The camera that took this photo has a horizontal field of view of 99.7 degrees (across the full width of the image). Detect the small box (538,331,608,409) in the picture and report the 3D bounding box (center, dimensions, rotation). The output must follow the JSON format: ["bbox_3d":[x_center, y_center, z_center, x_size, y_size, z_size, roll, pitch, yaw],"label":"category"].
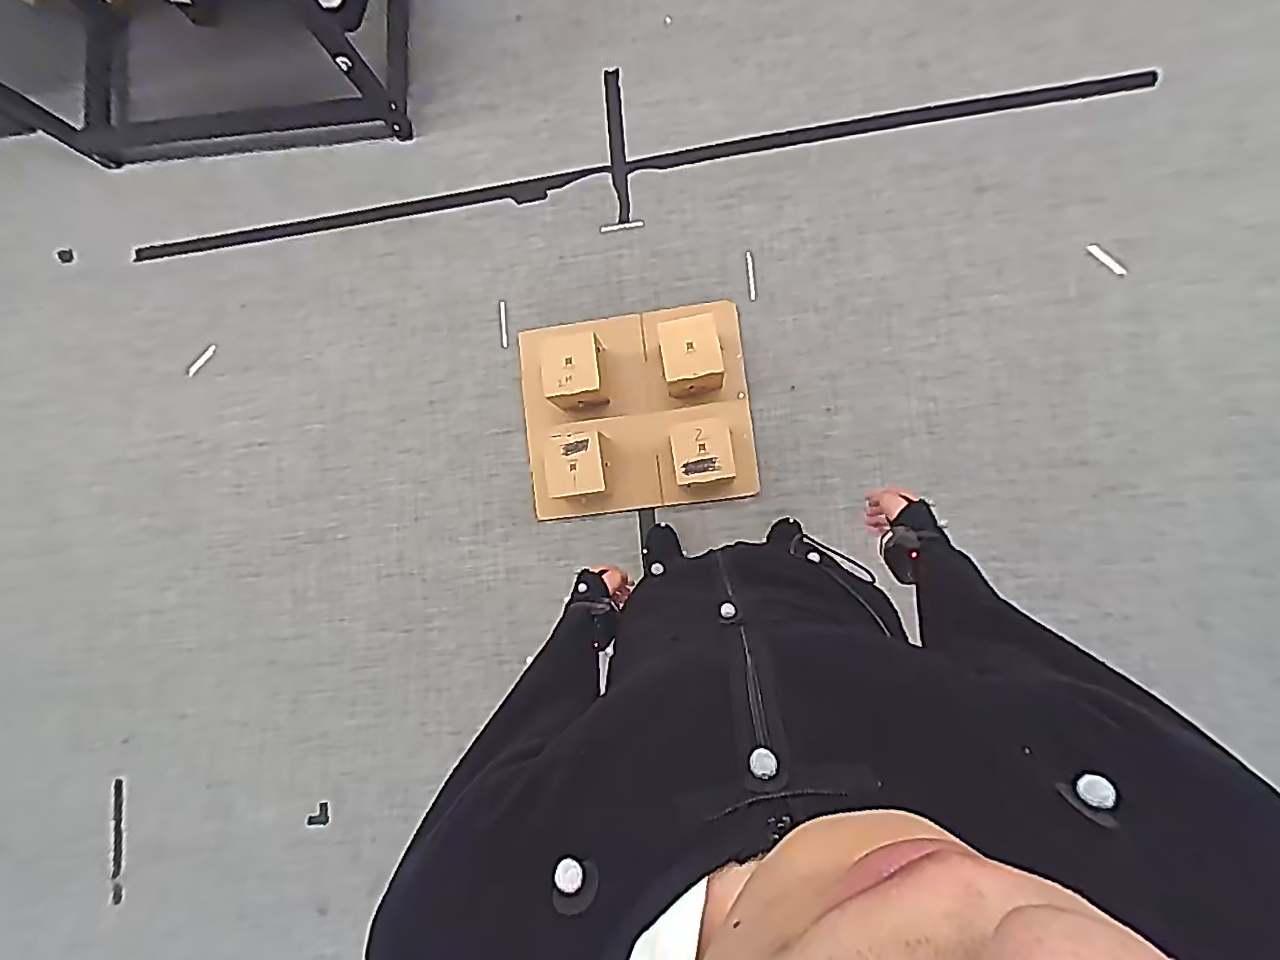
[{"bbox_3d":[-0.196,-0.324,1.618,0.168,0.176,0.179,-8,86,7],"label":"small box"}]

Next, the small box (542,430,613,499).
[{"bbox_3d":[-0.182,-0.039,1.599,0.168,0.176,0.179,-8,86,6],"label":"small box"}]

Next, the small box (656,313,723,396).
[{"bbox_3d":[0.144,-0.362,1.589,0.168,0.176,0.179,-11,85,6],"label":"small box"}]
